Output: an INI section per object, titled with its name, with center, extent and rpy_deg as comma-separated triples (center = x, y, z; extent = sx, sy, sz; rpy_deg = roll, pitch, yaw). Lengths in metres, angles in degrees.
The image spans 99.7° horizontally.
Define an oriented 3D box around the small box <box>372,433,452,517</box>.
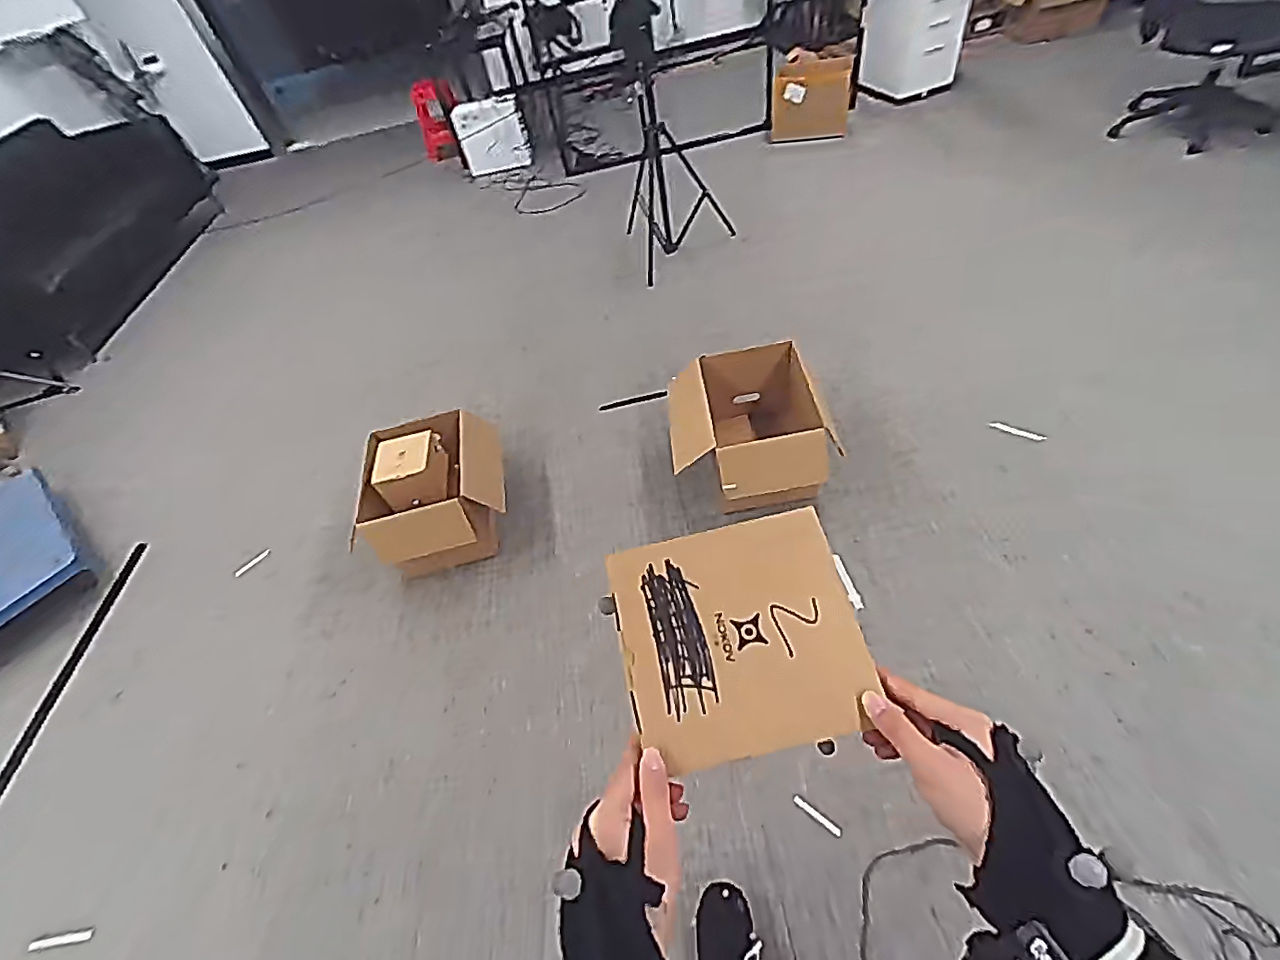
[small box]
center = -0.698, -0.014, 1.678
extent = 0.168, 0.176, 0.179
rpy_deg = -14, 49, 2
